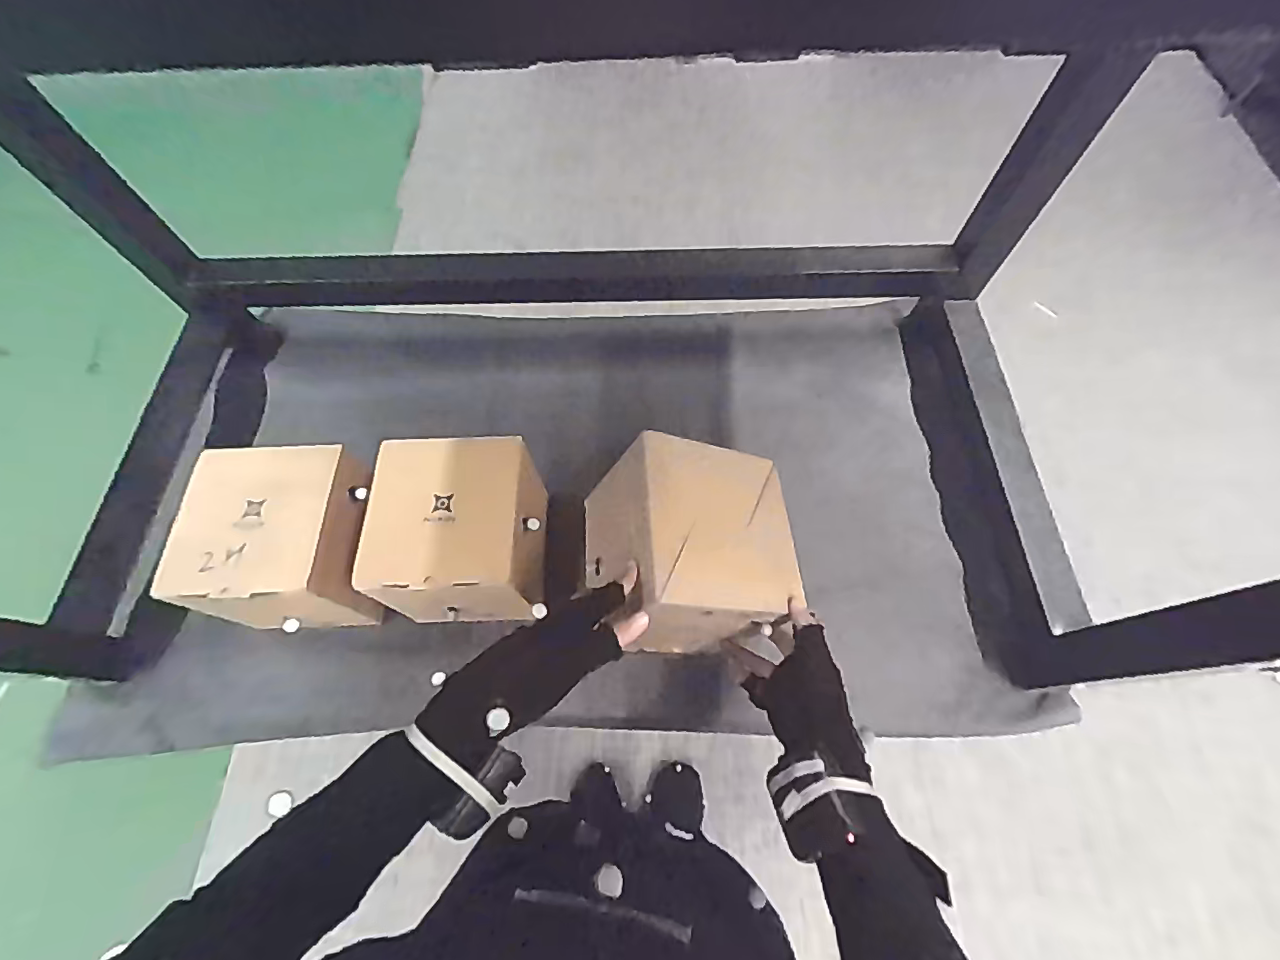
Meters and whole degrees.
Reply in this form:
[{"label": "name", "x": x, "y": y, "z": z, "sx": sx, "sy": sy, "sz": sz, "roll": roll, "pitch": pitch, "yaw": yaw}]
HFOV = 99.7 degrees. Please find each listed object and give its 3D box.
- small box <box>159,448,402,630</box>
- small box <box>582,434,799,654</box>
[{"label": "small box", "x": -0.414, "y": 0.078, "z": 0.663, "sx": 0.168, "sy": 0.176, "sz": 0.179, "roll": -2, "pitch": 63, "yaw": 1}, {"label": "small box", "x": 0.046, "y": 0.078, "z": 0.583, "sx": 0.168, "sy": 0.176, "sz": 0.179, "roll": 13, "pitch": 57, "yaw": -27}]
